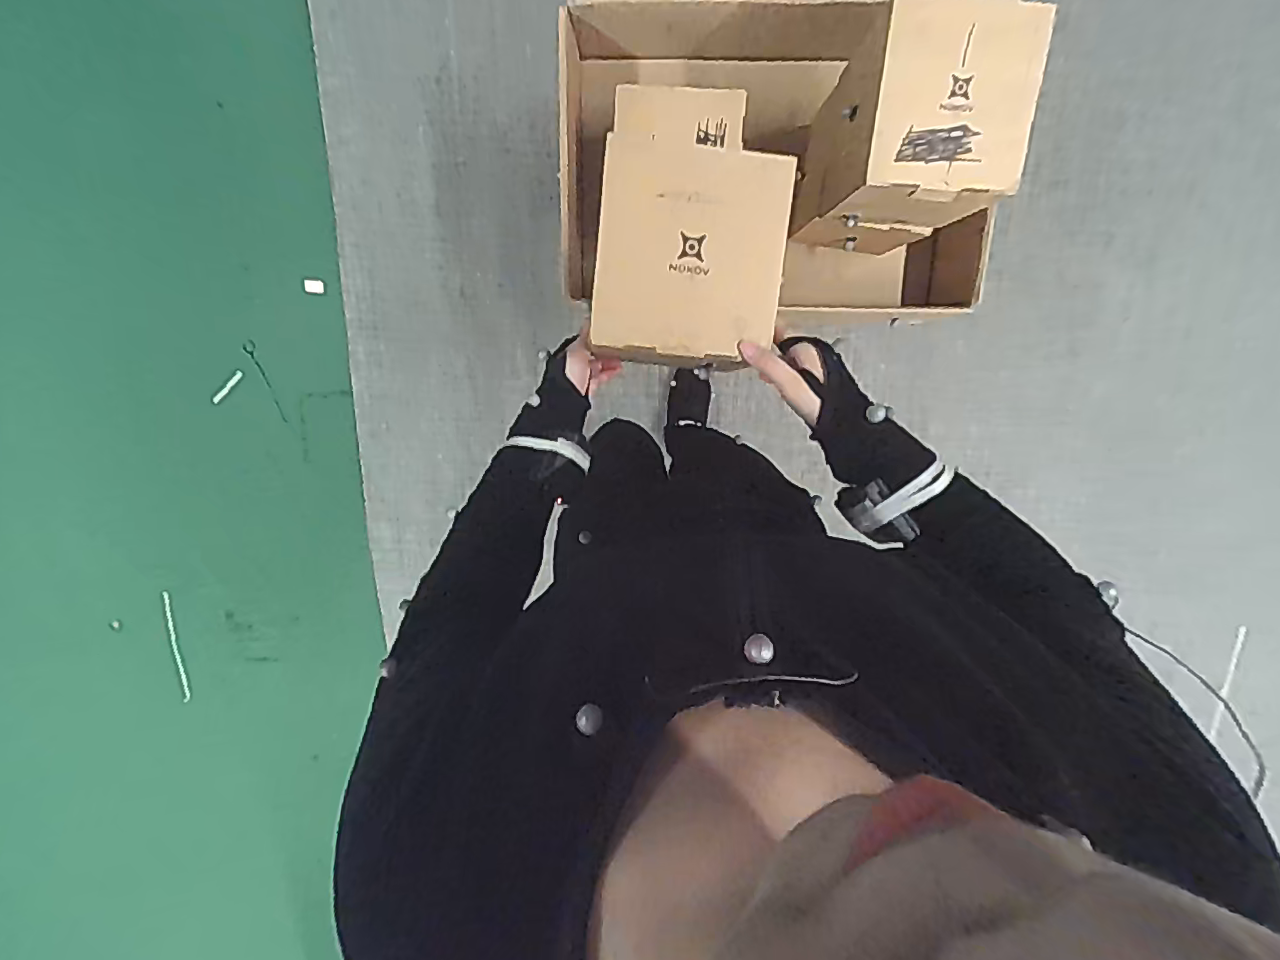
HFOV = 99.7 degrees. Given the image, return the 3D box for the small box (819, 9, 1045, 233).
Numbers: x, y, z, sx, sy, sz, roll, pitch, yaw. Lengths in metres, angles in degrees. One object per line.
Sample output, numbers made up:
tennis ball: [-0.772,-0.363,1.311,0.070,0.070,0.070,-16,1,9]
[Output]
small box: [0.327,-0.408,0.647,0.168,0.176,0.179,4,103,0]

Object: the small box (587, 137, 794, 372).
small box: [0.040,-0.209,0.554,0.168,0.176,0.179,6,97,-4]
